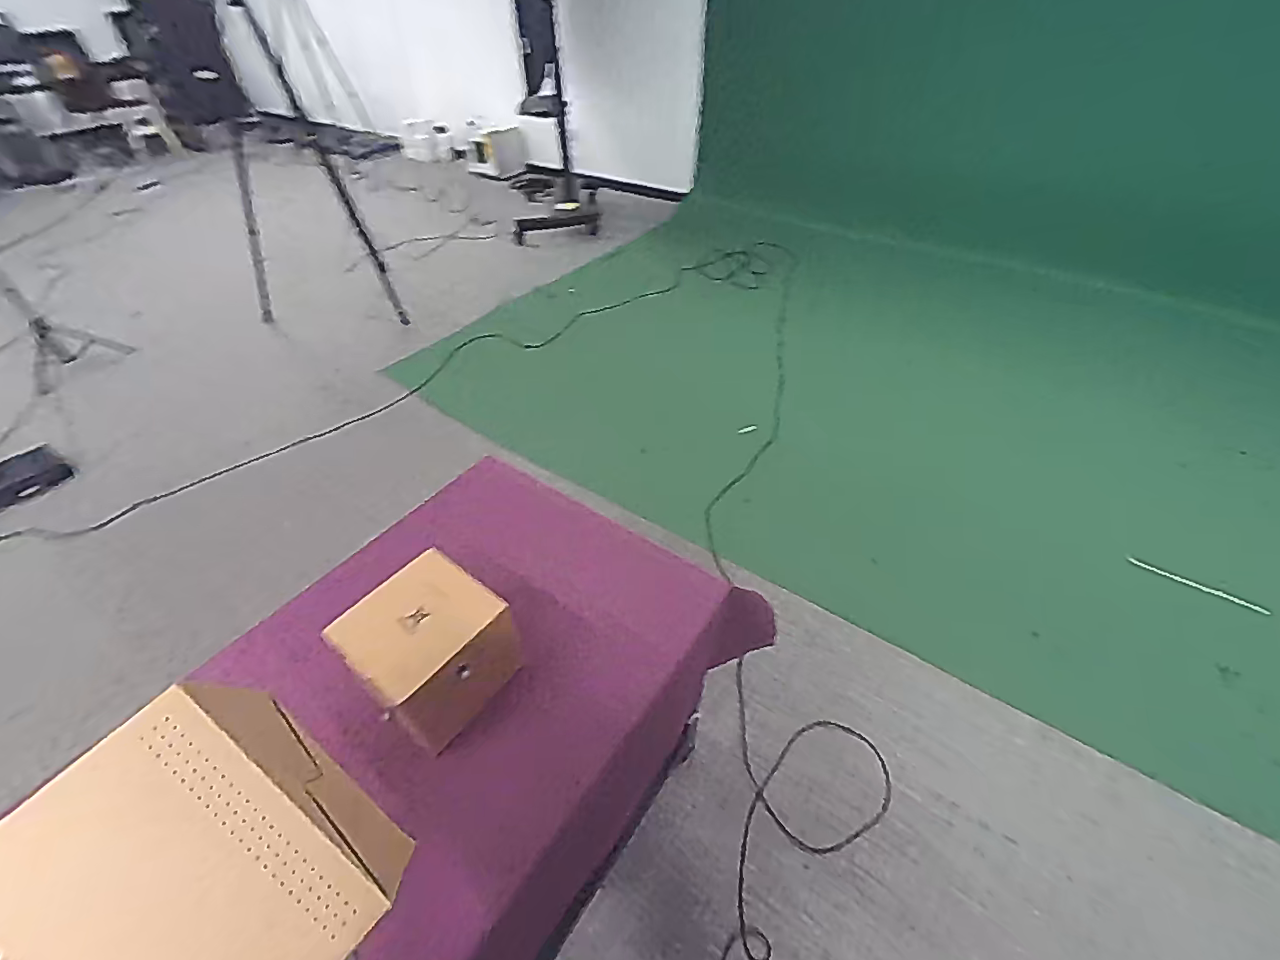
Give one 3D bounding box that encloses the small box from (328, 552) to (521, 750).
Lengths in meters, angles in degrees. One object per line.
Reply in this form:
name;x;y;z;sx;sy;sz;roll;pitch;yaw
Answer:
small box;-0.293;0.244;0.772;0.168;0.176;0.179;28;51;26
